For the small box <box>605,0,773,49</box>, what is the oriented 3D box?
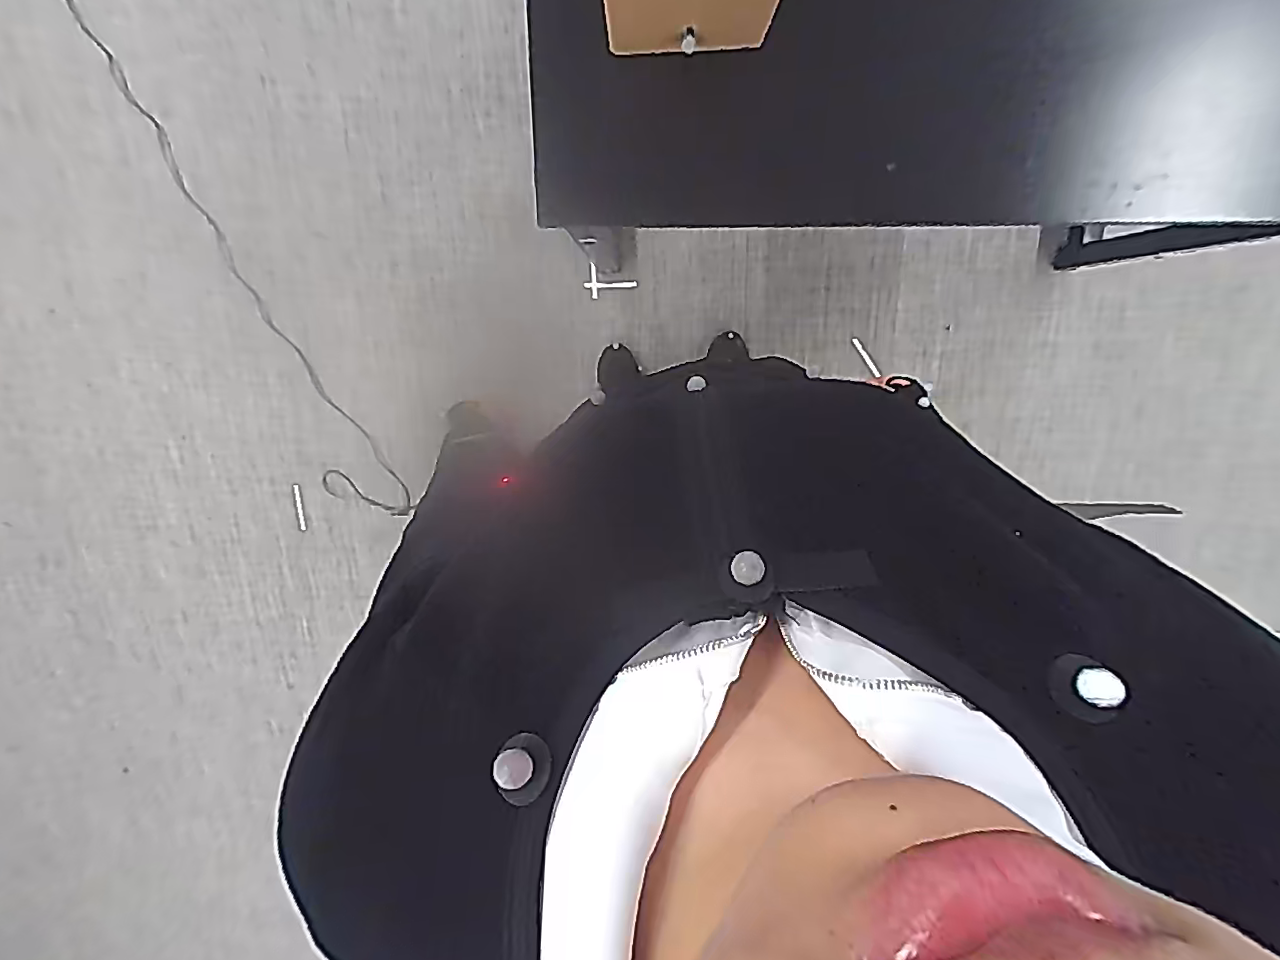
[{"bbox_3d":[0.050,-0.556,0.526,0.179,0.176,0.168,-2,105,0],"label":"small box"}]
